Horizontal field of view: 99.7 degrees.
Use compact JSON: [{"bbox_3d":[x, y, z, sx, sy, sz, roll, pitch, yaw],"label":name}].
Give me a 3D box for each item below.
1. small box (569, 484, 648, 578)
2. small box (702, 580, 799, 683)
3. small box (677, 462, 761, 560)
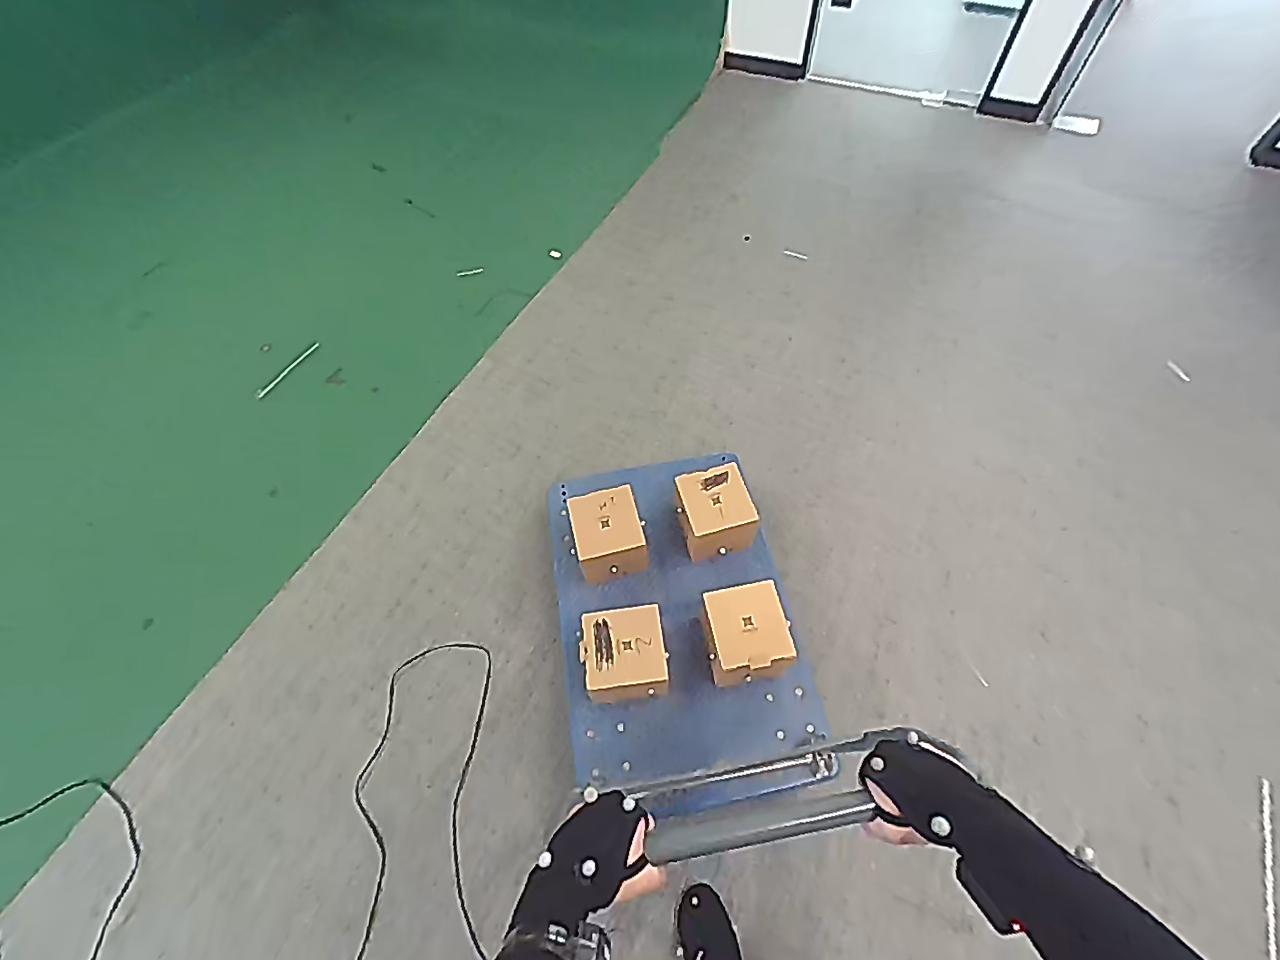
[{"bbox_3d":[-0.077,0.138,1.386,0.168,0.176,0.179,-12,60,-6],"label":"small box"},{"bbox_3d":[0.244,0.353,1.247,0.168,0.176,0.179,-10,60,-3],"label":"small box"},{"bbox_3d":[0.197,0.083,1.406,0.168,0.176,0.179,-14,61,-5],"label":"small box"}]
